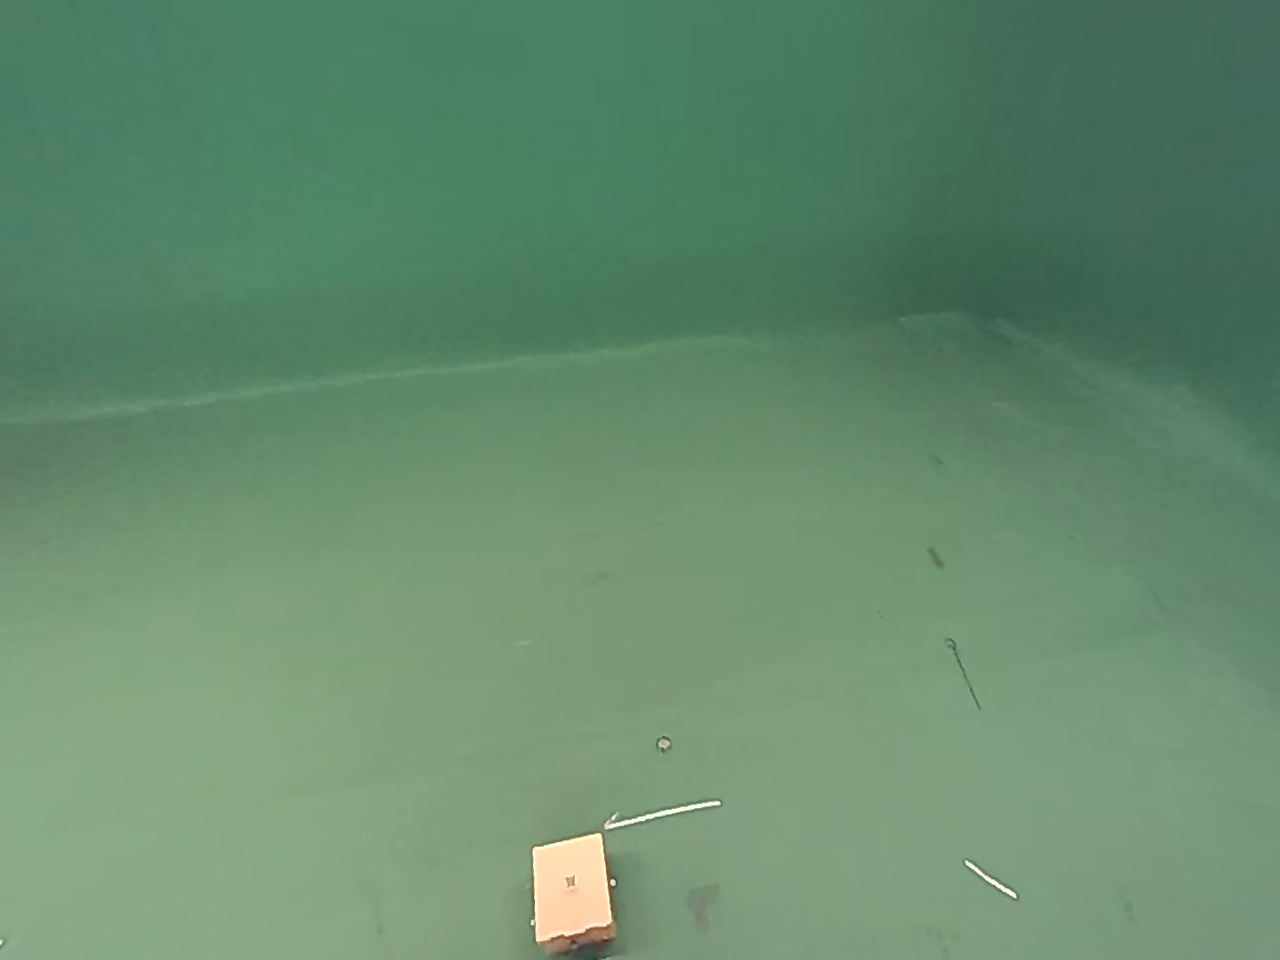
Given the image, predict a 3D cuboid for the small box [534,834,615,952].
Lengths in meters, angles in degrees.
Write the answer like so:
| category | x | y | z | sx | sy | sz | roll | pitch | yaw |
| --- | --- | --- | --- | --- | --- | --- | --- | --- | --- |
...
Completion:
| category | x | y | z | sx | sy | sz | roll | pitch | yaw |
| --- | --- | --- | --- | --- | --- | --- | --- | --- | --- |
| small box | -0.153 | 0.966 | 1.263 | 0.168 | 0.176 | 0.179 | -8 | 45 | -8 |
